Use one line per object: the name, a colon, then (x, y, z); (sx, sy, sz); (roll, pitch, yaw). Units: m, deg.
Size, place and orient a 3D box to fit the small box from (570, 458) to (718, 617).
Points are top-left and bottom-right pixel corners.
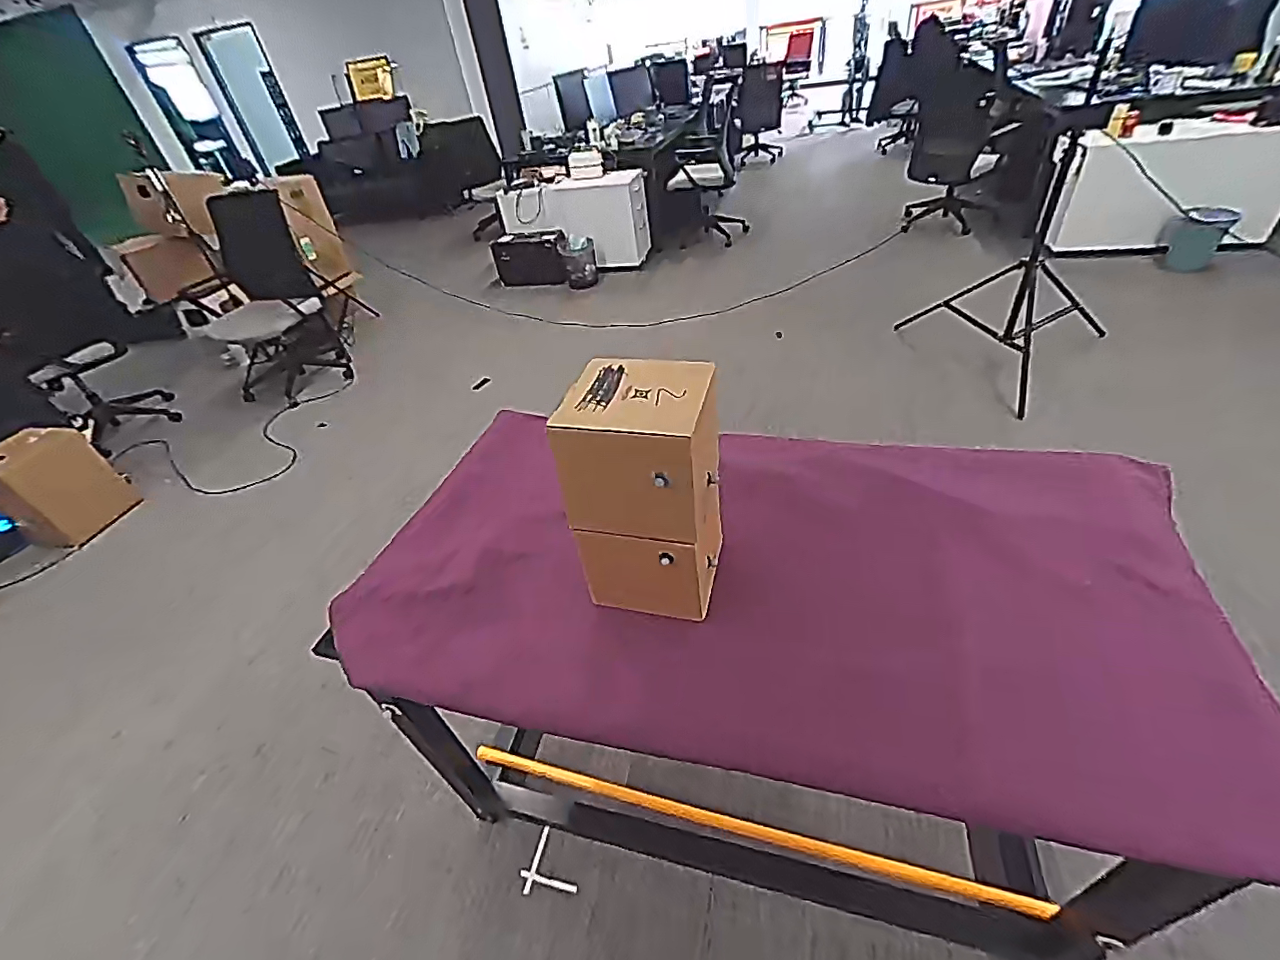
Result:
small box: (0.017, 0.086, 0.819); (0.179, 0.176, 0.168); (5, 41, 16)
